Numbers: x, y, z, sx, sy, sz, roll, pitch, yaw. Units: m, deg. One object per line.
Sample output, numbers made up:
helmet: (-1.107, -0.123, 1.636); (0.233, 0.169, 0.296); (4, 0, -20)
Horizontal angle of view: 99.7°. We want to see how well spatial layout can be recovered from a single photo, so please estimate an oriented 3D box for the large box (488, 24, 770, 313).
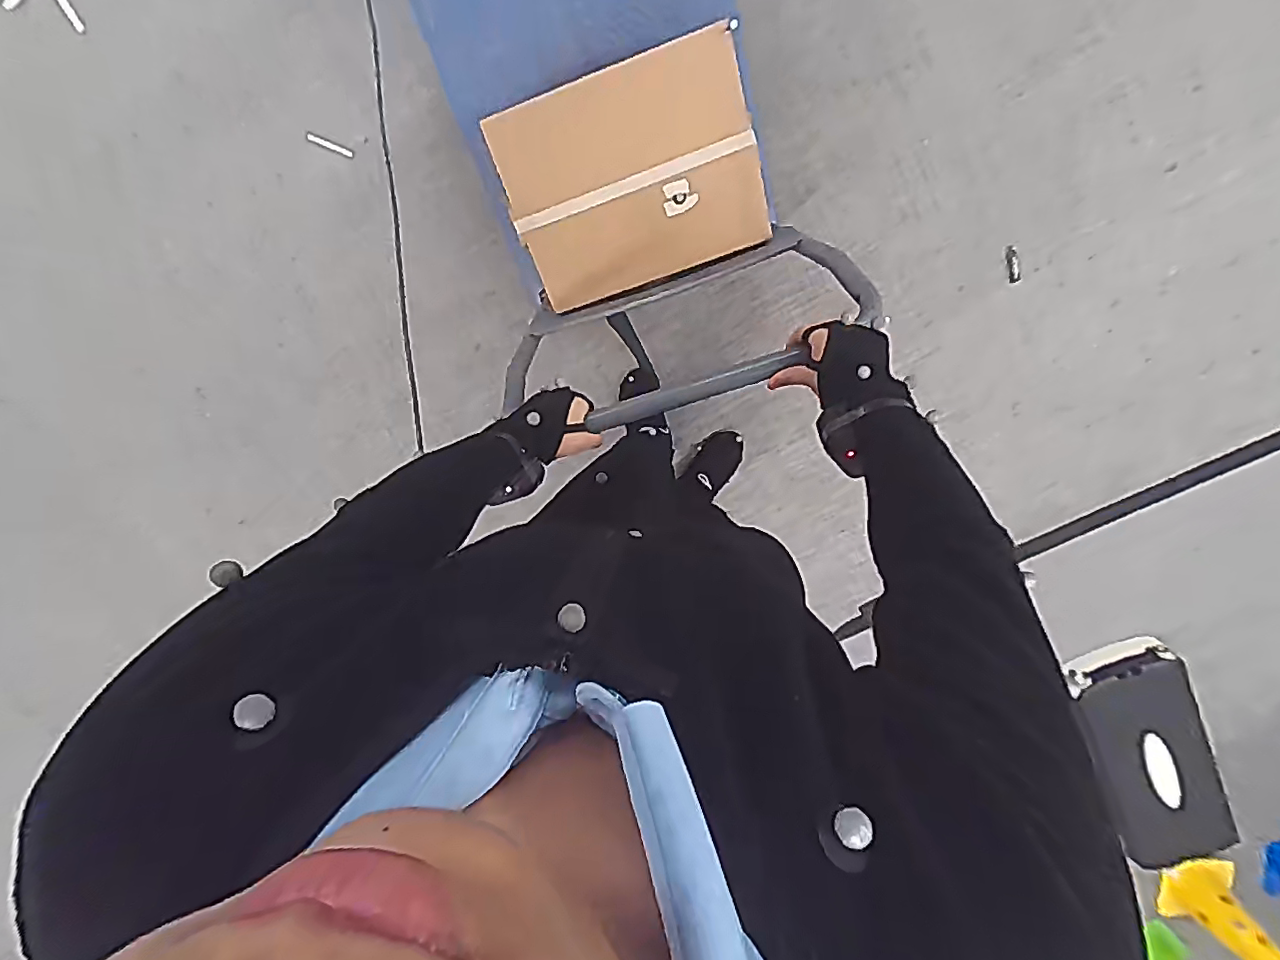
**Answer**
large box: (-0.013, -0.558, 1.031); (0.408, 0.320, 0.320); (-18, 116, 7)
